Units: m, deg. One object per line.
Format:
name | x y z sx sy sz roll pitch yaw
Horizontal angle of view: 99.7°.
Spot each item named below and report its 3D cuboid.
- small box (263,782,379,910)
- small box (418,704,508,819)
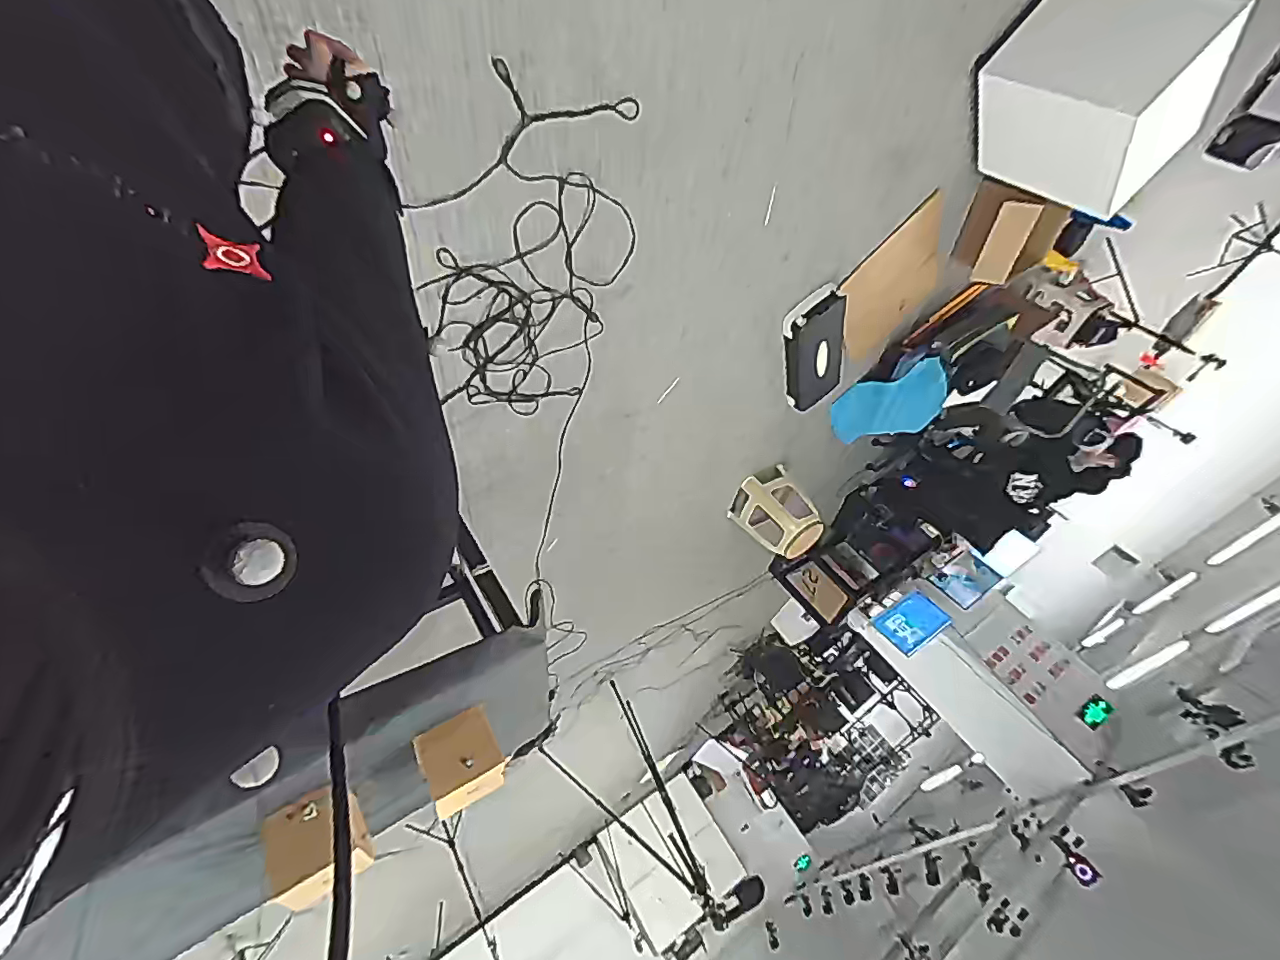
small box | -0.721 0.825 1.228 0.168 0.176 0.179 -24 144 -29
small box | -0.456 0.715 1.386 0.179 0.176 0.168 -20 143 -32
